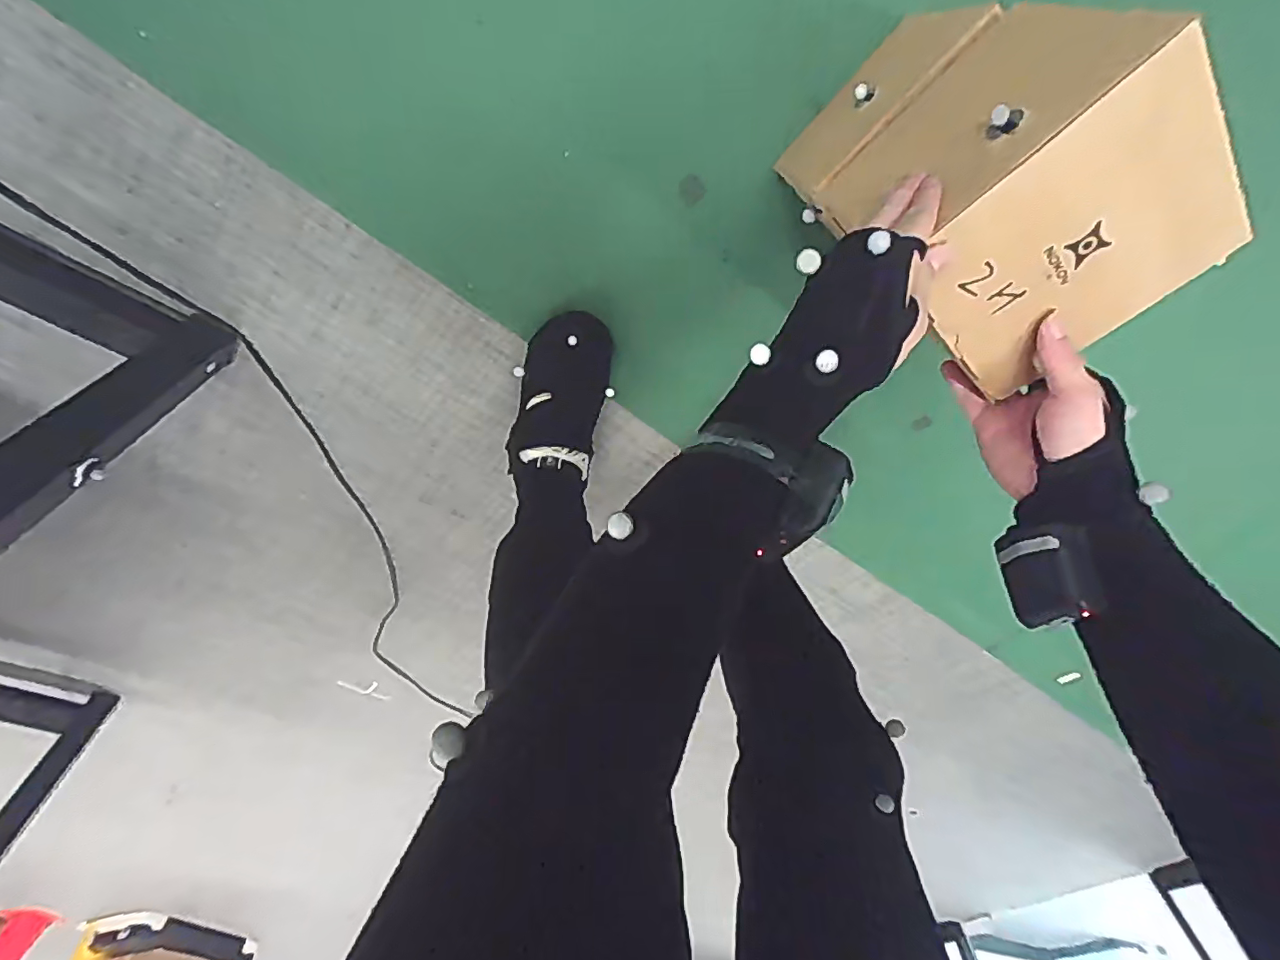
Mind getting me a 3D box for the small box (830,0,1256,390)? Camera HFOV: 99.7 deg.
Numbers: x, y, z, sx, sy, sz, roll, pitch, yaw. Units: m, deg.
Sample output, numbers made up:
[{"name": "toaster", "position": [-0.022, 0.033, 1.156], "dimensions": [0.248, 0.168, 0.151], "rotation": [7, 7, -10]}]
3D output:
[{"name": "small box", "position": [0.278, -0.211, 0.407], "dimensions": [0.168, 0.176, 0.179], "rotation": [33, 123, -30]}]
